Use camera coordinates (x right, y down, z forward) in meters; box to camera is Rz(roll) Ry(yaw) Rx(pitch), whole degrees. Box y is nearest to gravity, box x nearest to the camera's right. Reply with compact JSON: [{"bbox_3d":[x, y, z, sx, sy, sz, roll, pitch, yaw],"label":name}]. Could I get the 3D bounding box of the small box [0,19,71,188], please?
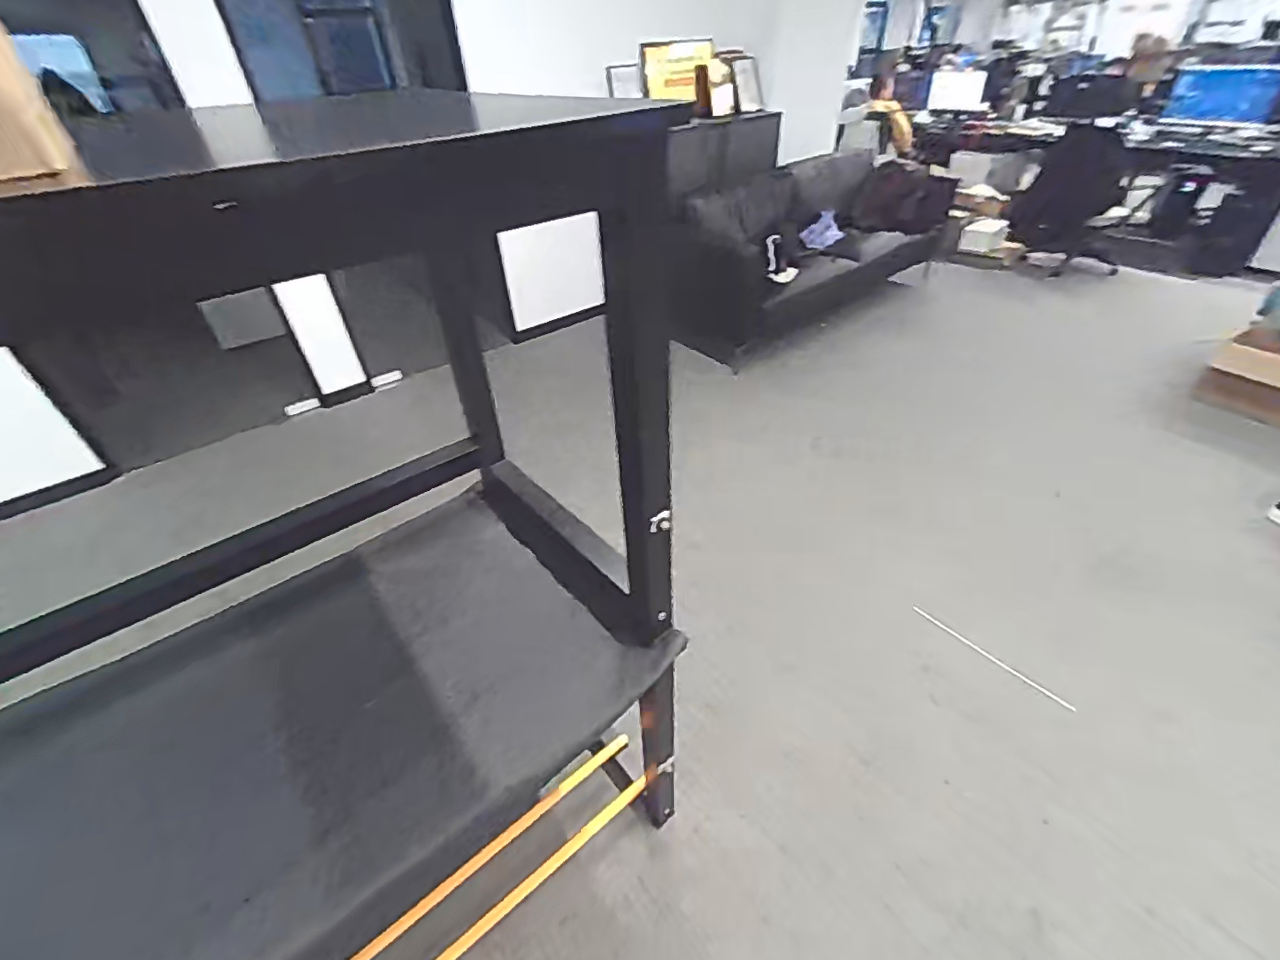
[{"bbox_3d":[-0.442,-0.243,0.269,0.168,0.176,0.179,-28,45,-28],"label":"small box"}]
